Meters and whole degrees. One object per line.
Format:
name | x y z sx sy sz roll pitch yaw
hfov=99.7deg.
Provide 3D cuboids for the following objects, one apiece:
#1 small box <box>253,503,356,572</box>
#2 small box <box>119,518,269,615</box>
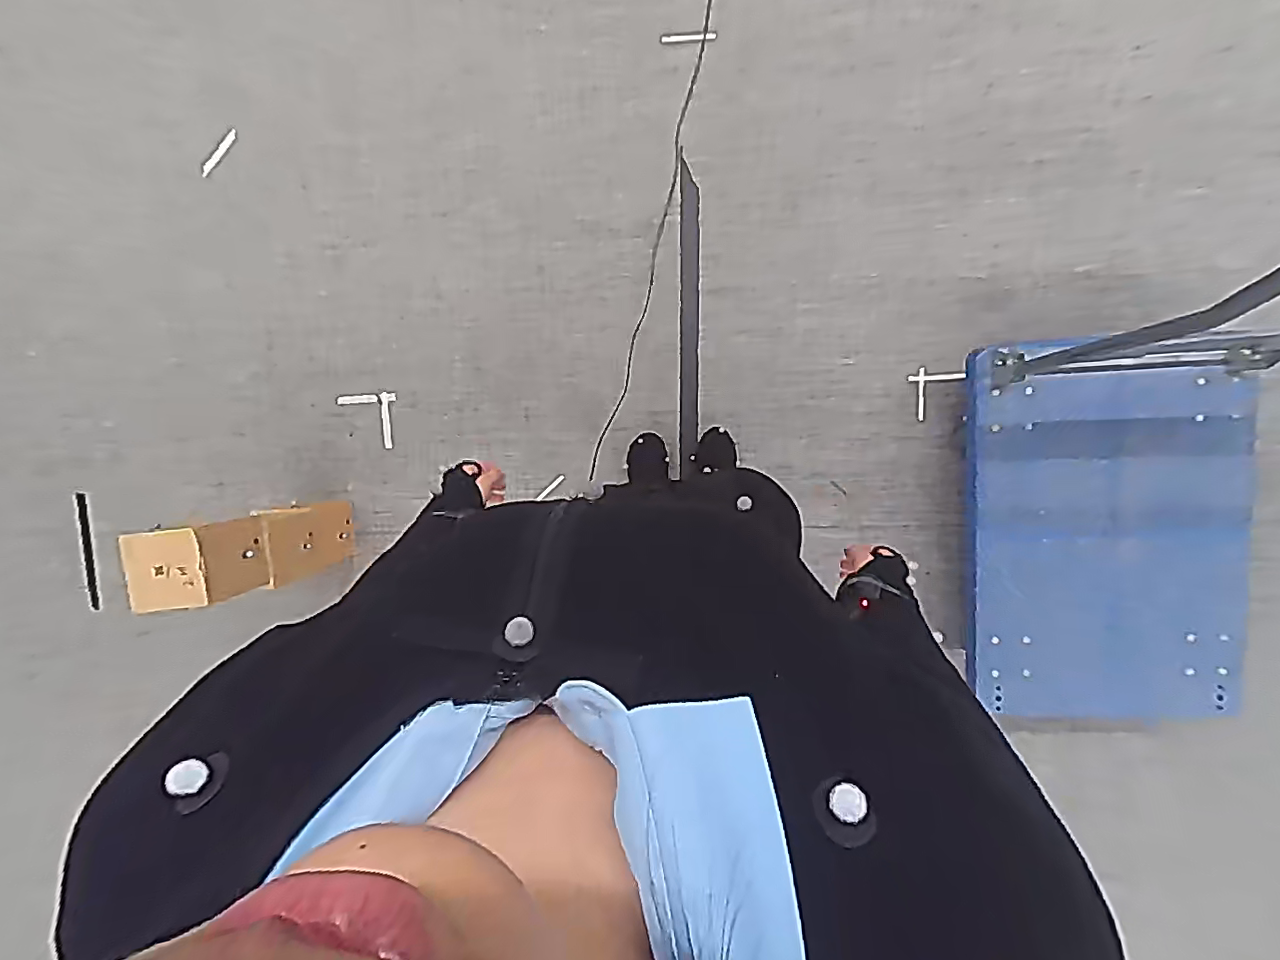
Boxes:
small box | -0.923 0.157 1.498 0.179 0.176 0.168 -2 95 4
small box | -0.955 0.181 1.171 0.179 0.176 0.168 -6 95 4
